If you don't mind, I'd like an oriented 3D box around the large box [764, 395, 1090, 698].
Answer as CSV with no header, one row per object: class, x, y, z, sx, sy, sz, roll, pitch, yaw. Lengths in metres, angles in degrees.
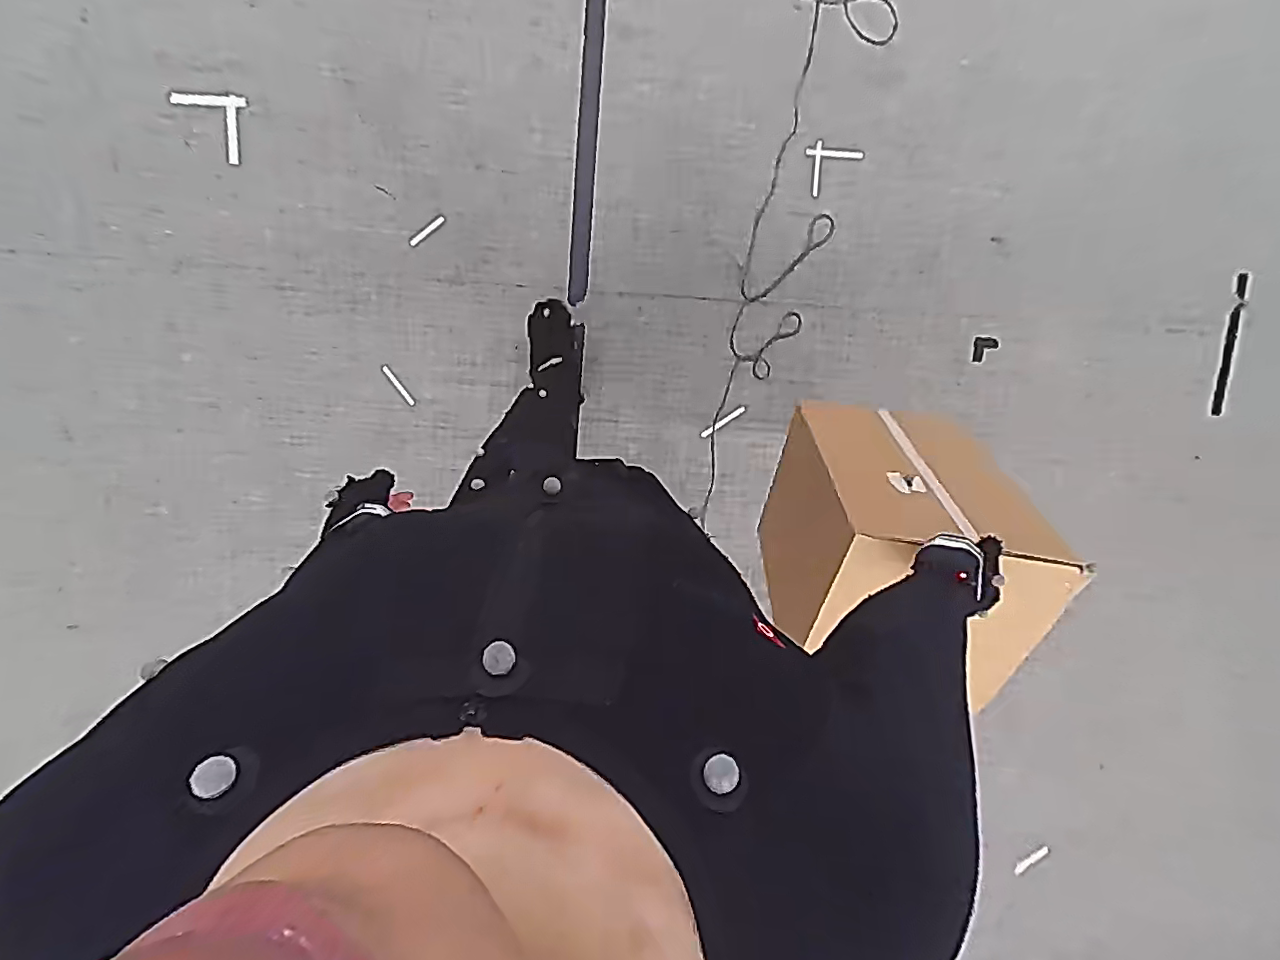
large box,0.427,0.097,0.942,0.320,0.408,0.320,8,126,0
